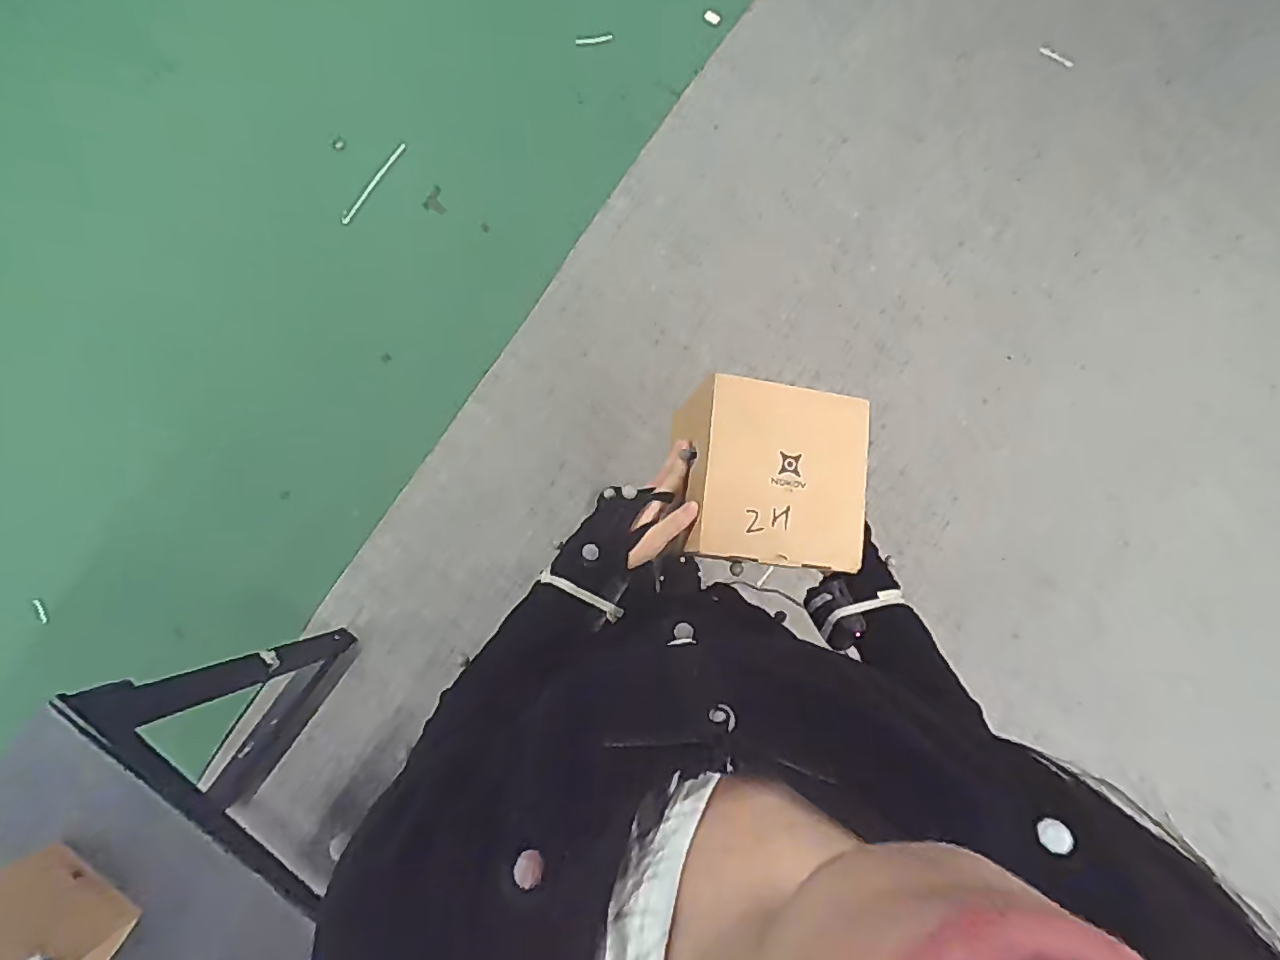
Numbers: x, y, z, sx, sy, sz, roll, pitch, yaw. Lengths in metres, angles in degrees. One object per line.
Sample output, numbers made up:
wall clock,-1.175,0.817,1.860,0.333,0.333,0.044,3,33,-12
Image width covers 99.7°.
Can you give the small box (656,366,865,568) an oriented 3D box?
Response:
small box,0.120,-0.002,0.589,0.168,0.176,0.179,8,81,-10
